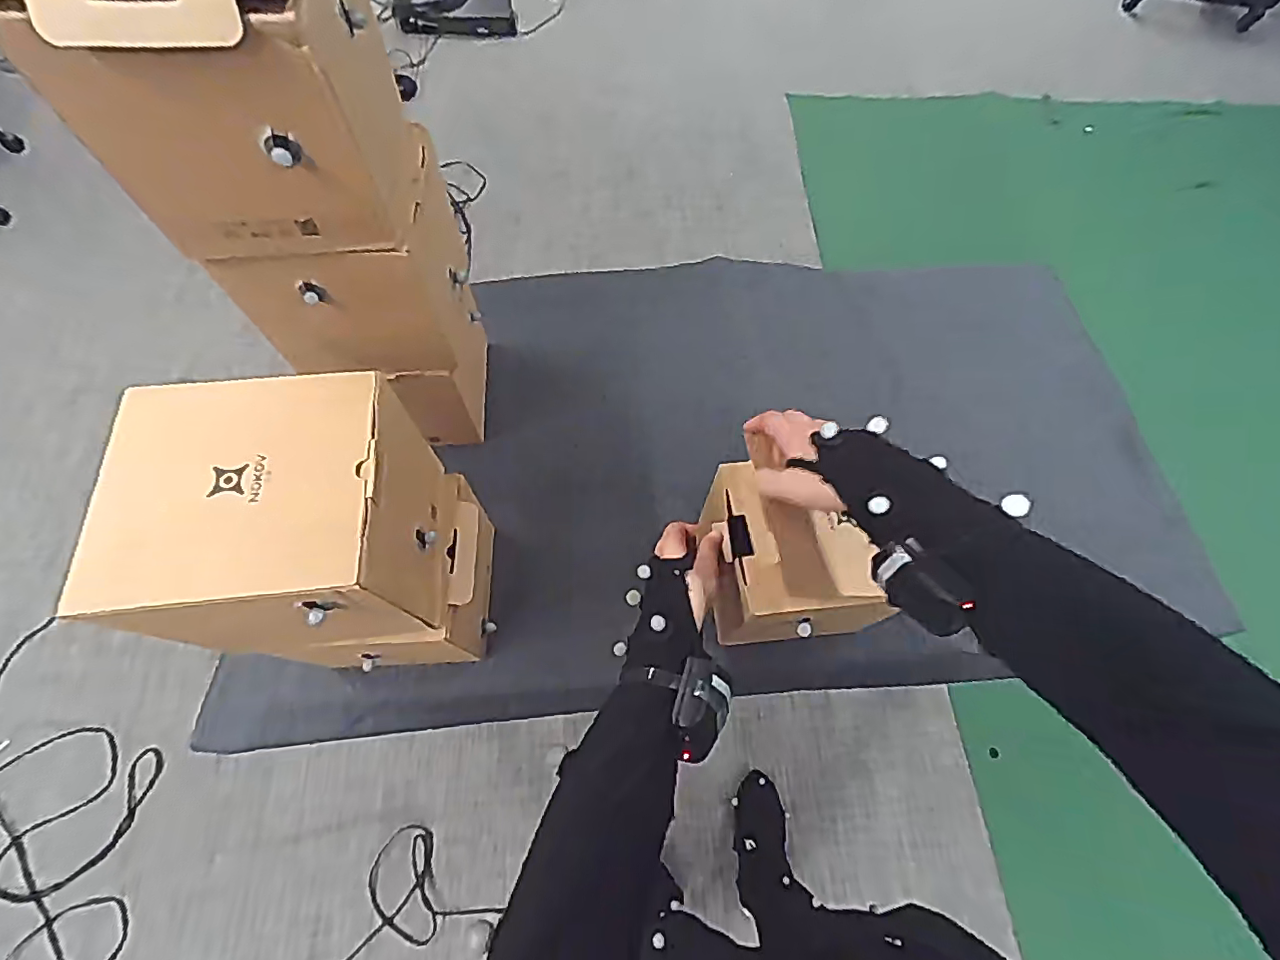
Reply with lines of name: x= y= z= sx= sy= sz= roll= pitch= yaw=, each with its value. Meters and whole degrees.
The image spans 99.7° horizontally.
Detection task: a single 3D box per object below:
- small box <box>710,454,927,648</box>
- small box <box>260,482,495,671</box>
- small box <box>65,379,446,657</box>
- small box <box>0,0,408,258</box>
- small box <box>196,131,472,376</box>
small box: x=0.178 y=0.088 z=0.609 sx=0.179 sy=0.176 sz=0.168 roll=-5 pitch=65 yaw=-2
small box: x=-0.260 y=0.110 z=0.581 sx=0.179 sy=0.176 sz=0.168 roll=-2 pitch=66 yaw=-3
small box: x=-0.269 y=0.040 z=0.434 sx=0.179 sy=0.176 sz=0.168 roll=-6 pitch=66 yaw=-6
small box: x=-0.284 y=-0.285 z=0.401 sx=0.168 sy=0.176 sz=0.179 roll=-6 pitch=65 yaw=-7
small box: x=-0.283 y=-0.219 z=0.549 sx=0.179 sy=0.176 sz=0.168 roll=-3 pitch=67 yaw=-4
